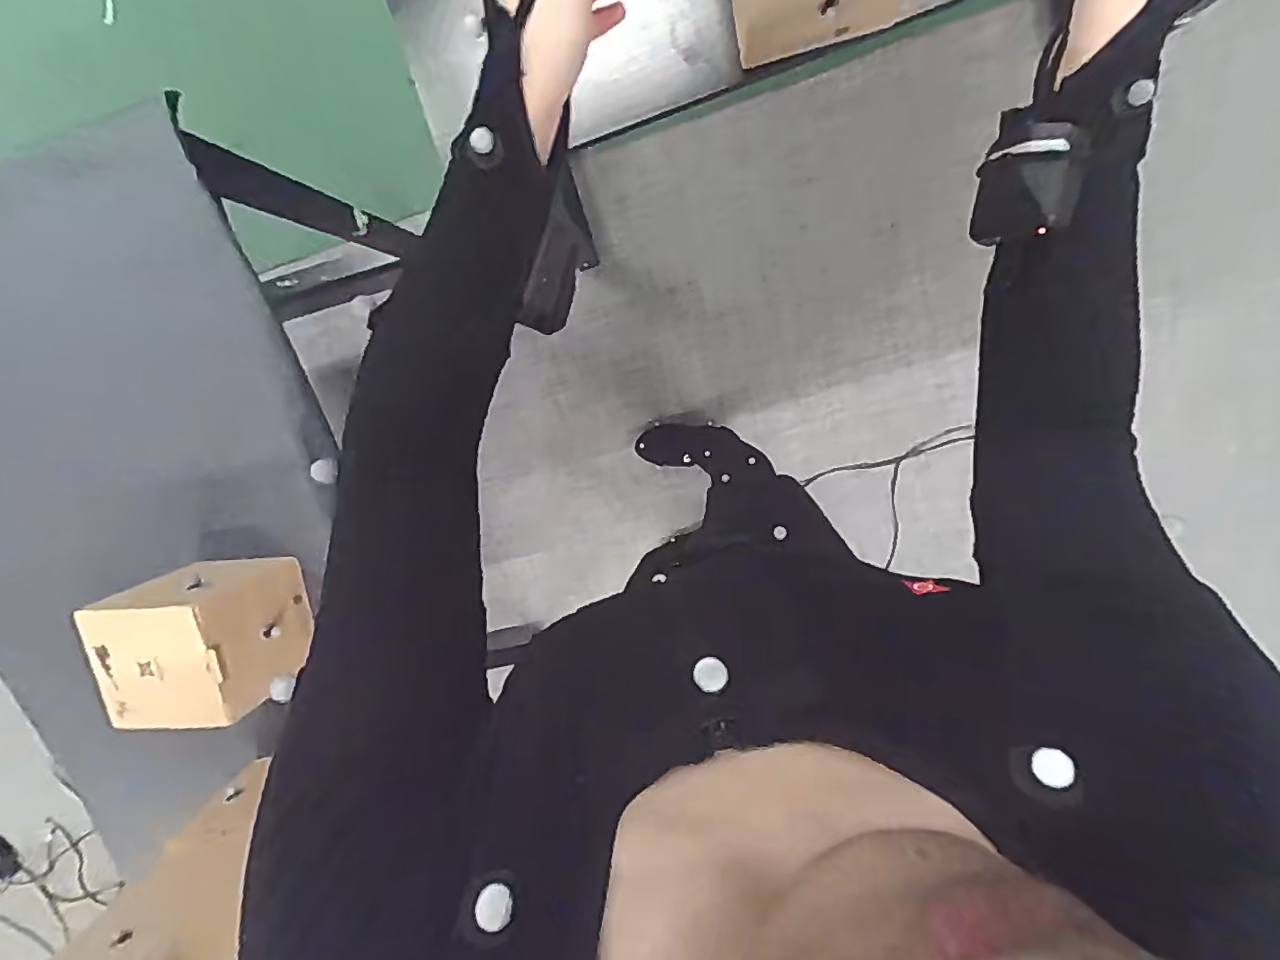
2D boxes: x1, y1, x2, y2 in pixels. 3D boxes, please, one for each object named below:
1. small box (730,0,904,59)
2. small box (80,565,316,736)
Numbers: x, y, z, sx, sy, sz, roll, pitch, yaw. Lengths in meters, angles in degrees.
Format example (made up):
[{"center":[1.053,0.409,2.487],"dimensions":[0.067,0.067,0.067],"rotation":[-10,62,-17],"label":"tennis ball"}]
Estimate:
[{"center":[0.170,-0.537,0.502],"dimensions":[0.168,0.176,0.179],"rotation":[-11,101,7],"label":"small box"},{"center":[-0.580,0.223,0.742],"dimensions":[0.179,0.176,0.168],"rotation":[-5,102,8],"label":"small box"}]
